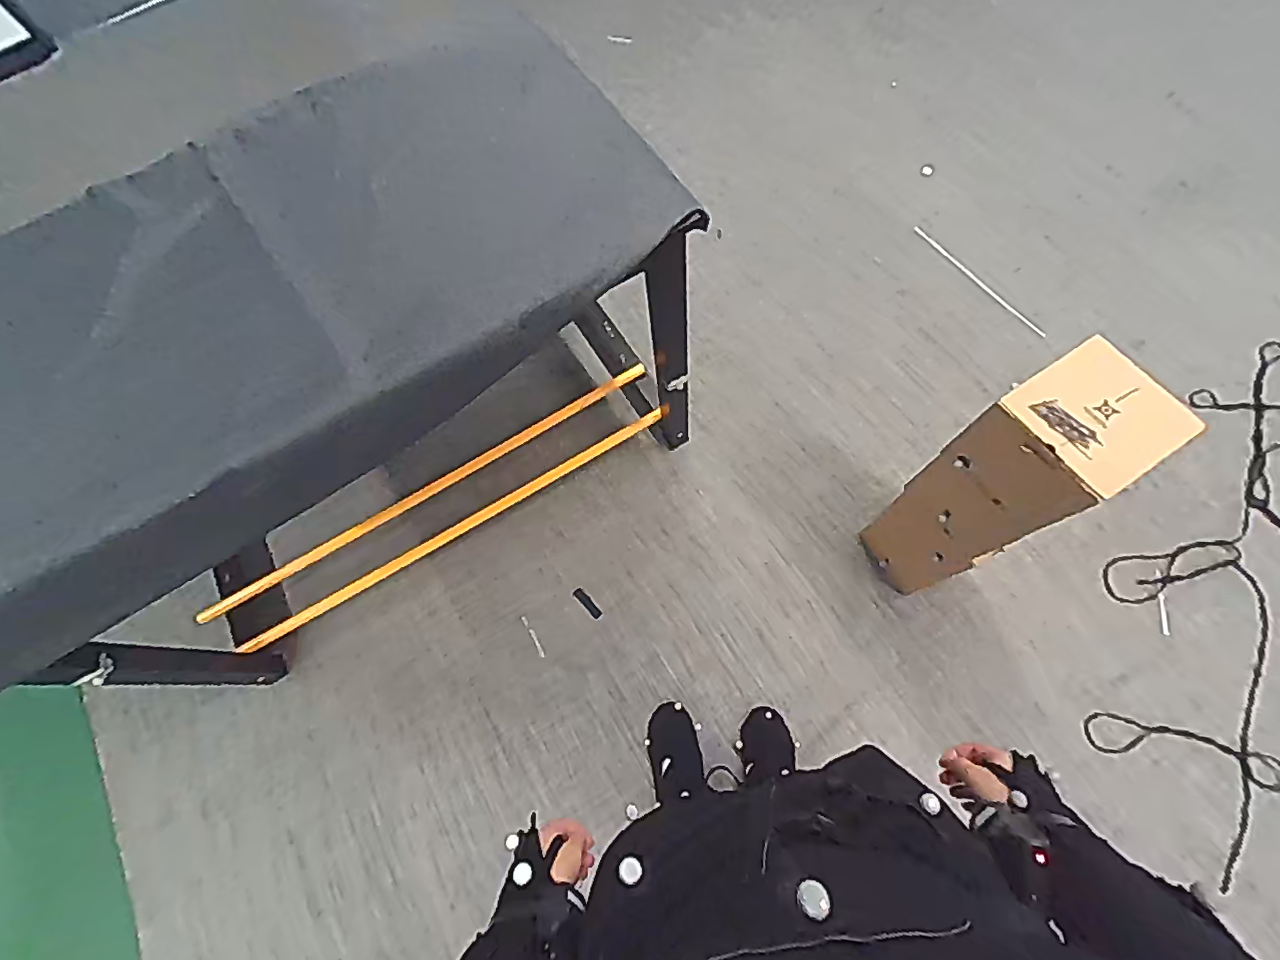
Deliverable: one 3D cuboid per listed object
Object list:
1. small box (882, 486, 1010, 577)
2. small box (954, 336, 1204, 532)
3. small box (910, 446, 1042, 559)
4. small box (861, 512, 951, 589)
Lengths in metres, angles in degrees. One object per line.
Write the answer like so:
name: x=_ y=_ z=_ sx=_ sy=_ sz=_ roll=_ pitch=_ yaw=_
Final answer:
small box: x=0.607 y=0.071 z=1.039 sx=0.168 sy=0.176 sz=0.179 roll=-31 pitch=69 yaw=-7
small box: x=0.568 y=-0.053 z=0.736 sx=0.179 sy=0.176 sz=0.168 roll=-31 pitch=70 yaw=-8
small box: x=0.589 y=0.007 z=0.888 sx=0.179 sy=0.176 sz=0.168 roll=-30 pitch=70 yaw=-6
small box: x=0.626 y=0.127 z=1.189 sx=0.168 sy=0.176 sz=0.179 roll=-28 pitch=71 yaw=-7
